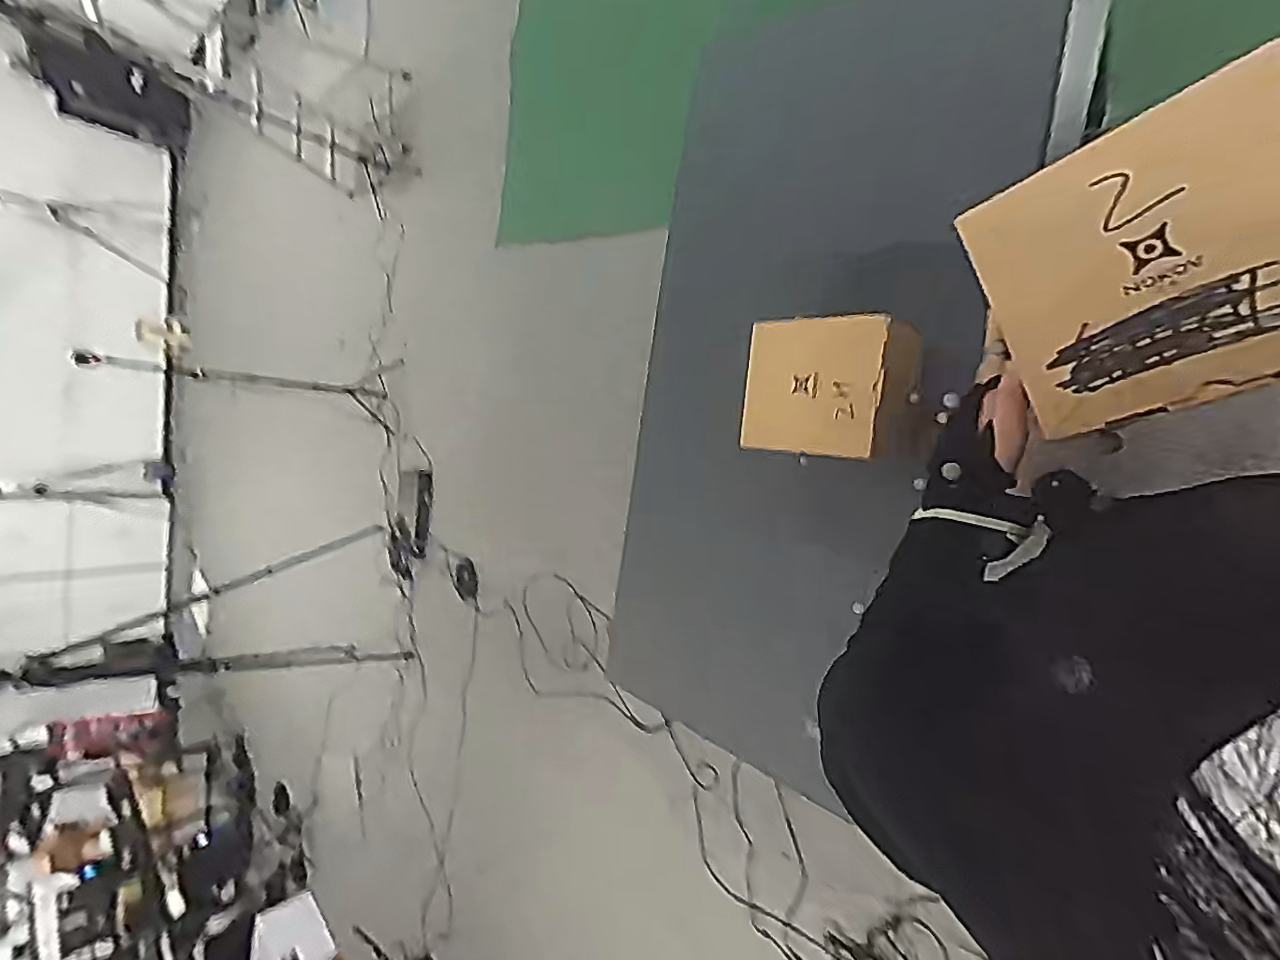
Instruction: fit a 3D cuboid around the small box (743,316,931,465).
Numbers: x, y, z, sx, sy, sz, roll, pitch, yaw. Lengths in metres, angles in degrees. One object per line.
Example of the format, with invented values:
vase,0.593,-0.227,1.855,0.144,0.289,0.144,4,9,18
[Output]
small box,0.262,-0.110,0.720,0.179,0.176,0.168,8,95,41
